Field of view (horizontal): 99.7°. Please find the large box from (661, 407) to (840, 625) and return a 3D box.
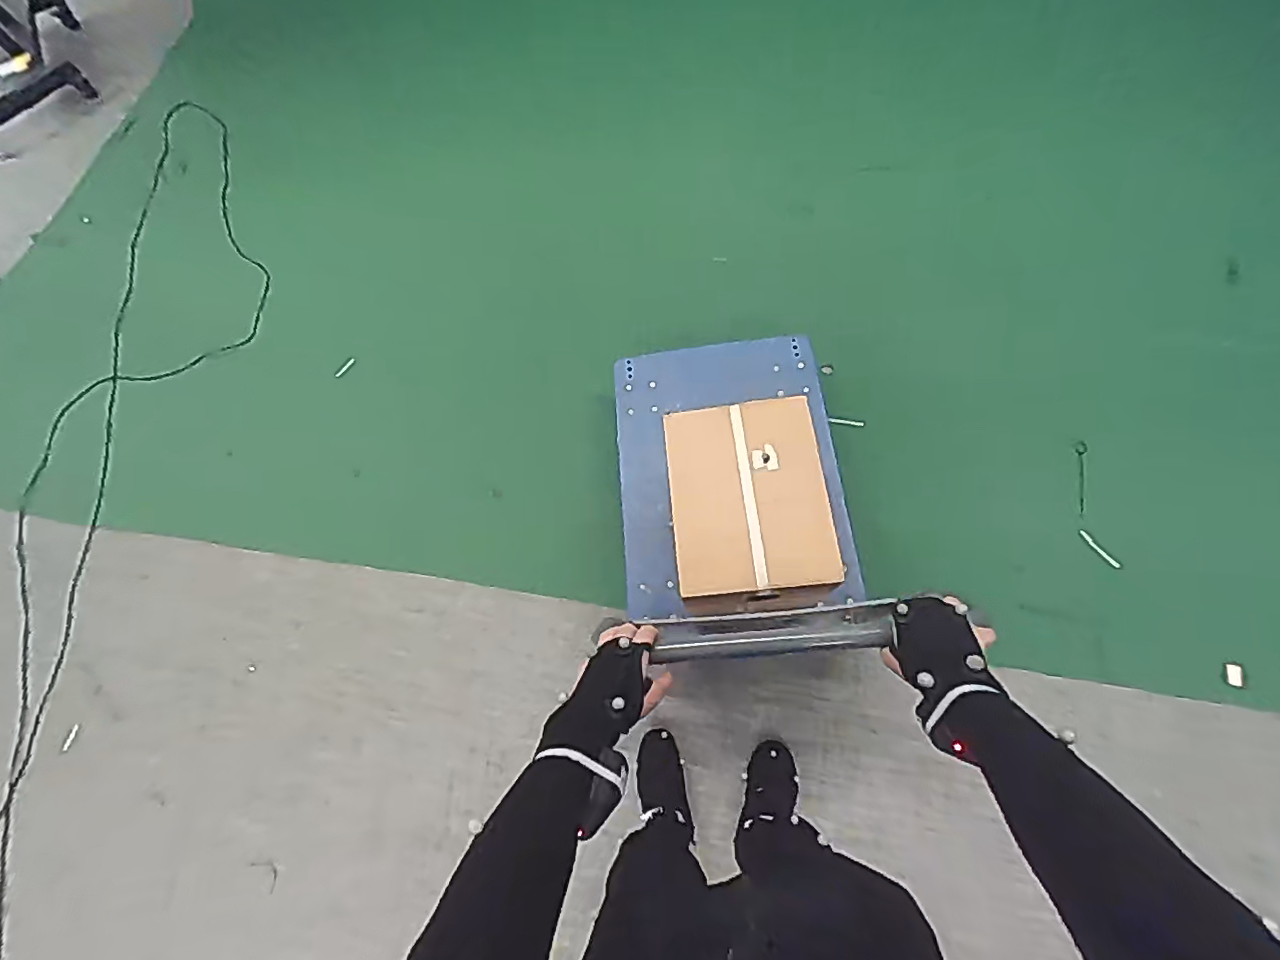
[{"bbox_3d":[0.237,0.098,1.249,0.320,0.320,0.408,-7,67,6],"label":"large box"}]
